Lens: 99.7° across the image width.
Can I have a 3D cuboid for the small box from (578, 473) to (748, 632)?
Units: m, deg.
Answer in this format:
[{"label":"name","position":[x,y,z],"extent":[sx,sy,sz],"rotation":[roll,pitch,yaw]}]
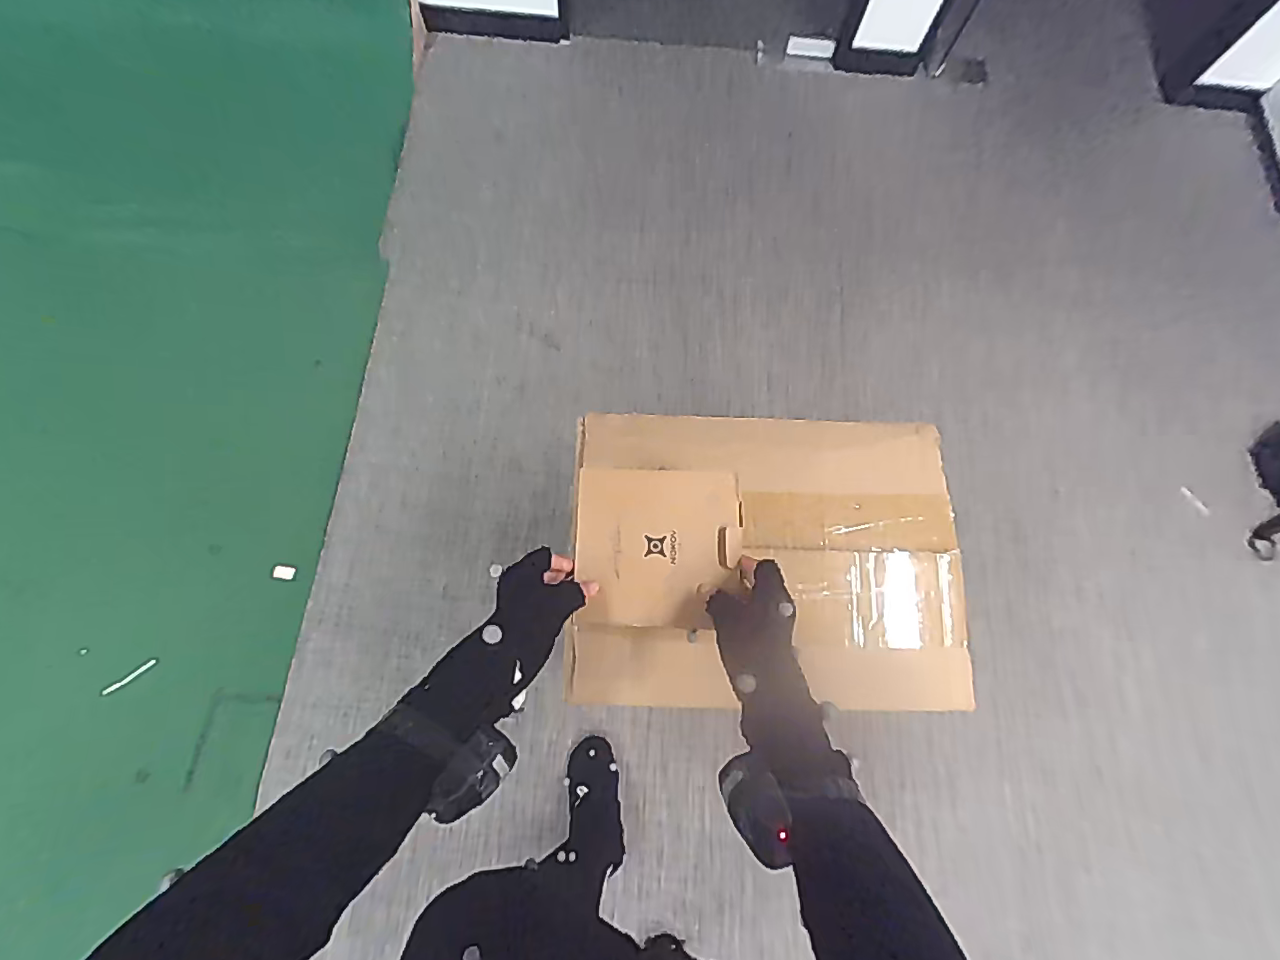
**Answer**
[{"label":"small box","position":[0.023,0.094,0.646],"extent":[0.179,0.176,0.168],"rotation":[1,74,-1]}]
